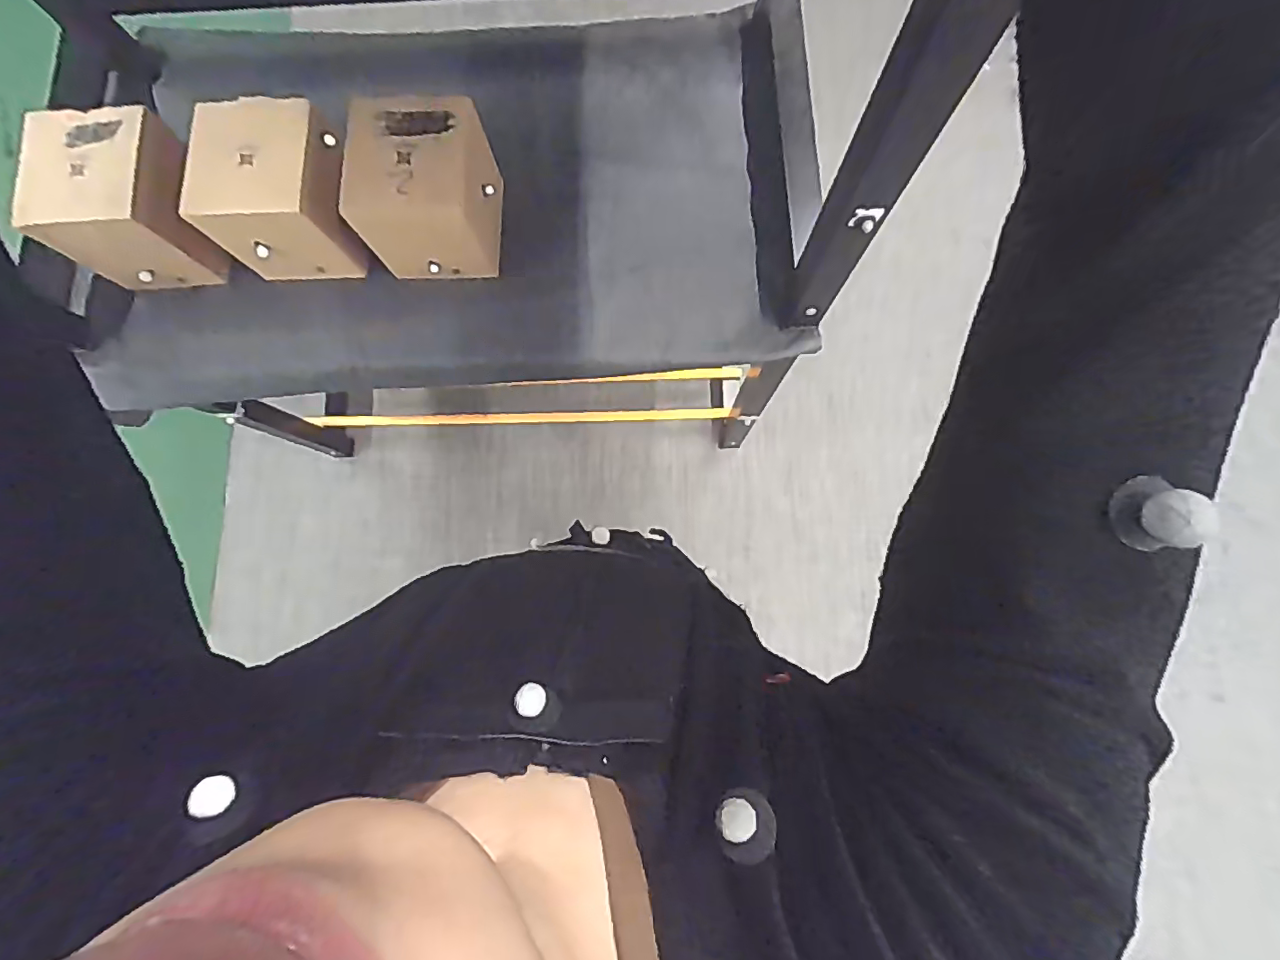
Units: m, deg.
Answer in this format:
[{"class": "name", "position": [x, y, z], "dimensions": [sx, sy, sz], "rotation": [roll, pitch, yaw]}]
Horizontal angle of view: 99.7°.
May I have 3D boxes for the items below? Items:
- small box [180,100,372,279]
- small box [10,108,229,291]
[{"class": "small box", "position": [-0.522, -0.416, 0.802], "dimensions": [0.168, 0.176, 0.179], "rotation": [-1, 79, 1]}, {"class": "small box", "position": [-0.749, -0.406, 0.804], "dimensions": [0.168, 0.176, 0.179], "rotation": [-4, 80, 1]}]
